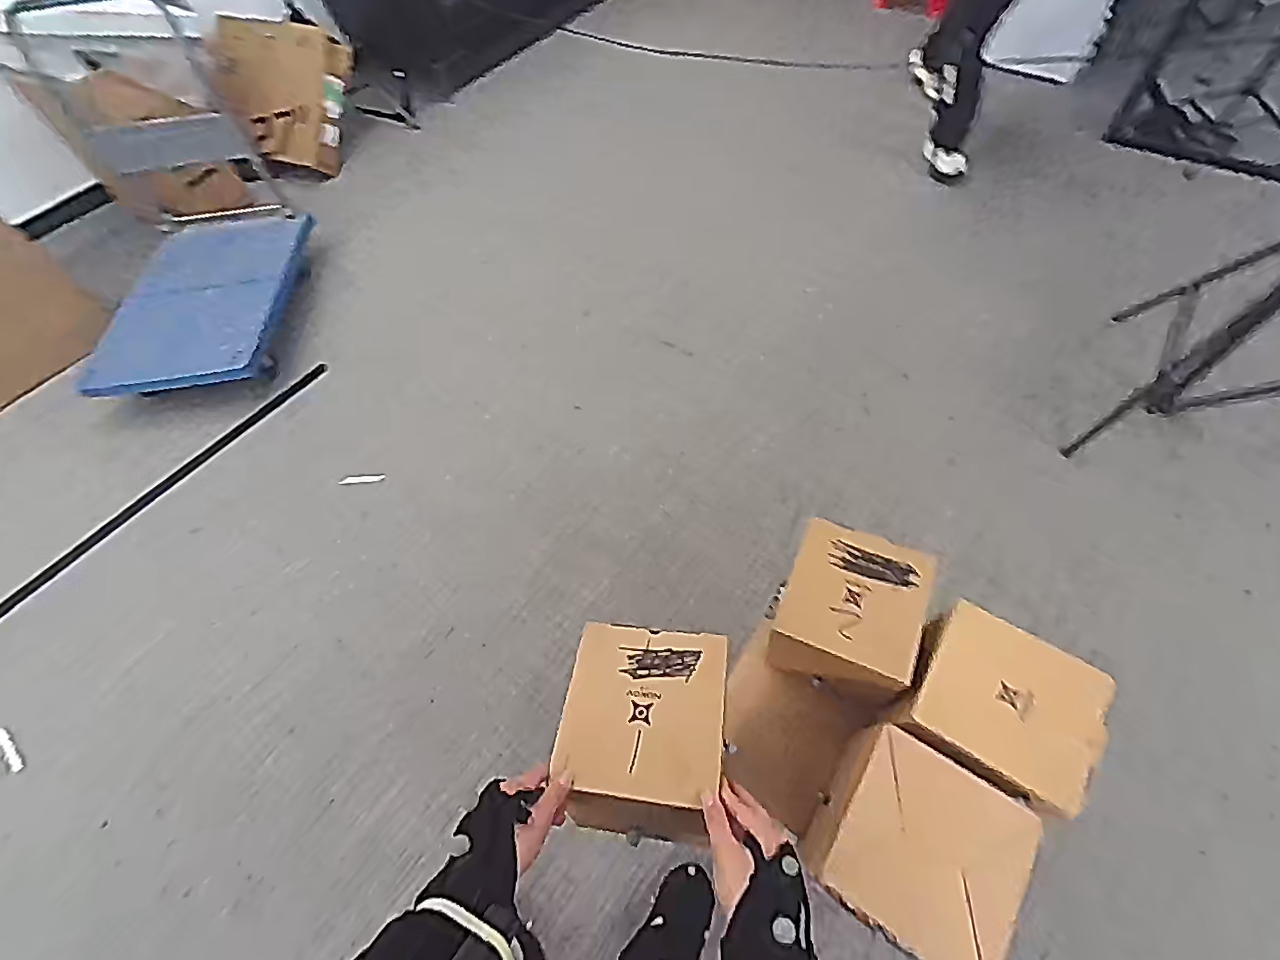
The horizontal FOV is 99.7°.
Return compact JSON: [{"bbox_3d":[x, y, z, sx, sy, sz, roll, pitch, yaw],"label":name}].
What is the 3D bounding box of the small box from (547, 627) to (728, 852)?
[{"bbox_3d":[0.011,0.293,0.615,0.168,0.176,0.179,2,47,11],"label":"small box"}]
